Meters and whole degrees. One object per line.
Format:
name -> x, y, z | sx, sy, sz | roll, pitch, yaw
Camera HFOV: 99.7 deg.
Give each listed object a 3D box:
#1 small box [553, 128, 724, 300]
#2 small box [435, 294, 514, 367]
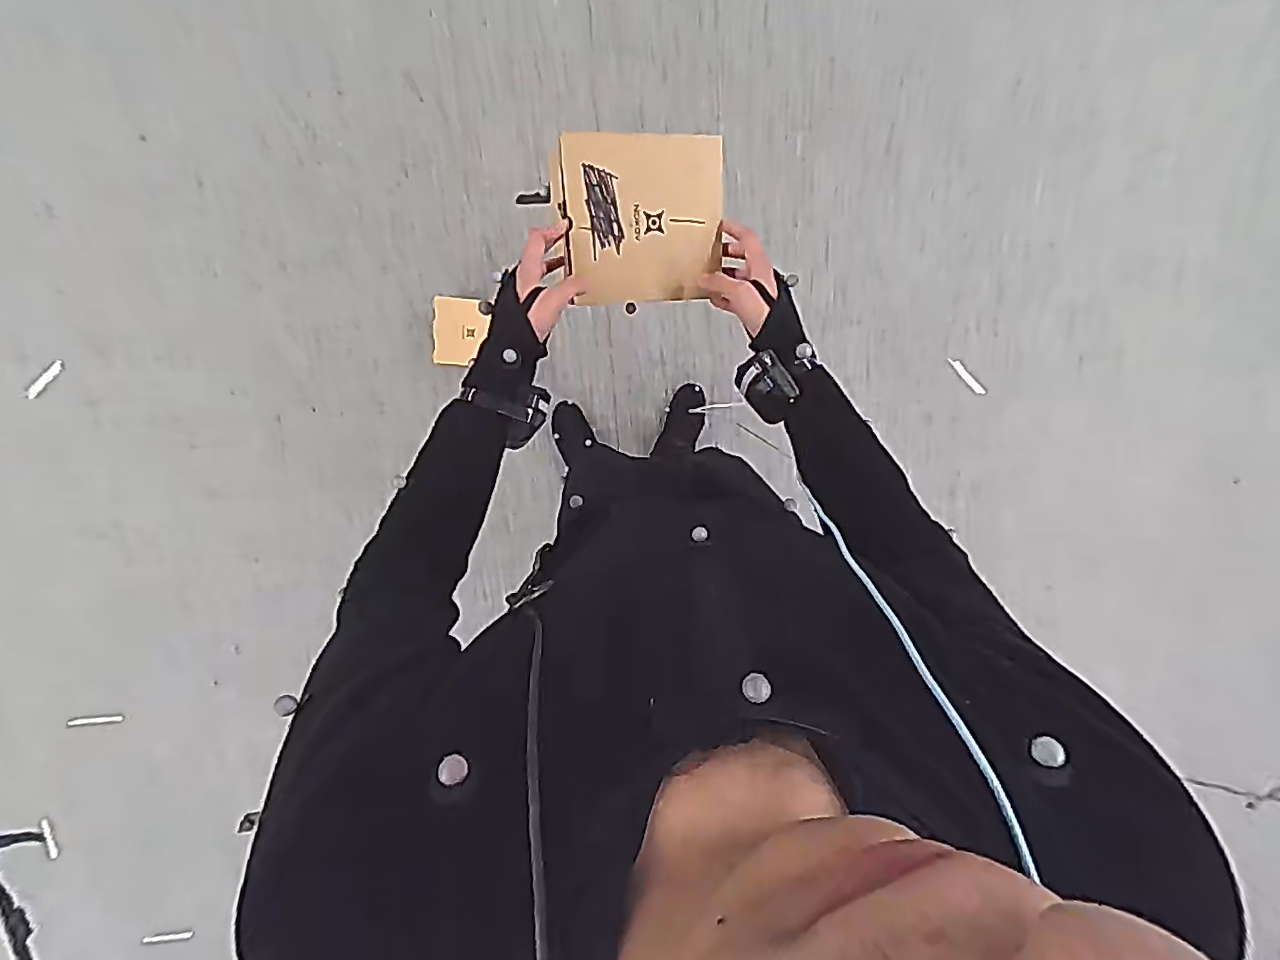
small box -> -0.011, -0.306, 0.653 | 0.179, 0.176, 0.168 | -6, 111, -12
small box -> -0.436, -0.395, 1.447 | 0.179, 0.176, 0.168 | 4, 101, -4
